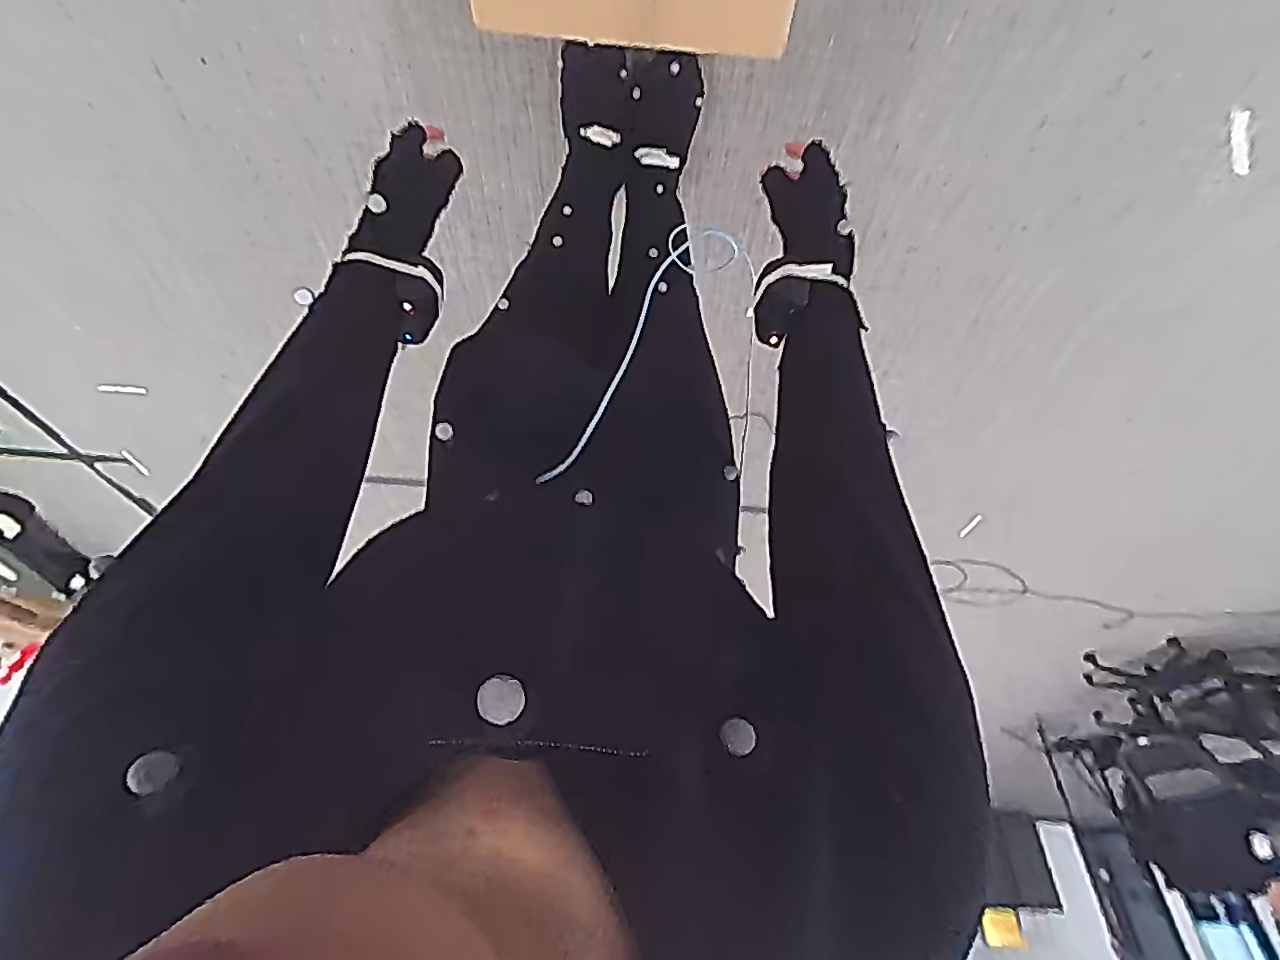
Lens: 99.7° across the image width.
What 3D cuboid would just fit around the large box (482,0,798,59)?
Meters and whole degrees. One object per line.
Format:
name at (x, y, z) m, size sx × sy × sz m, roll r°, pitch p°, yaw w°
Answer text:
large box at (0.009, -0.780, 0.681) m, size 0.408 × 0.320 × 0.320 m, roll 4°, pitch 144°, yaw -1°
